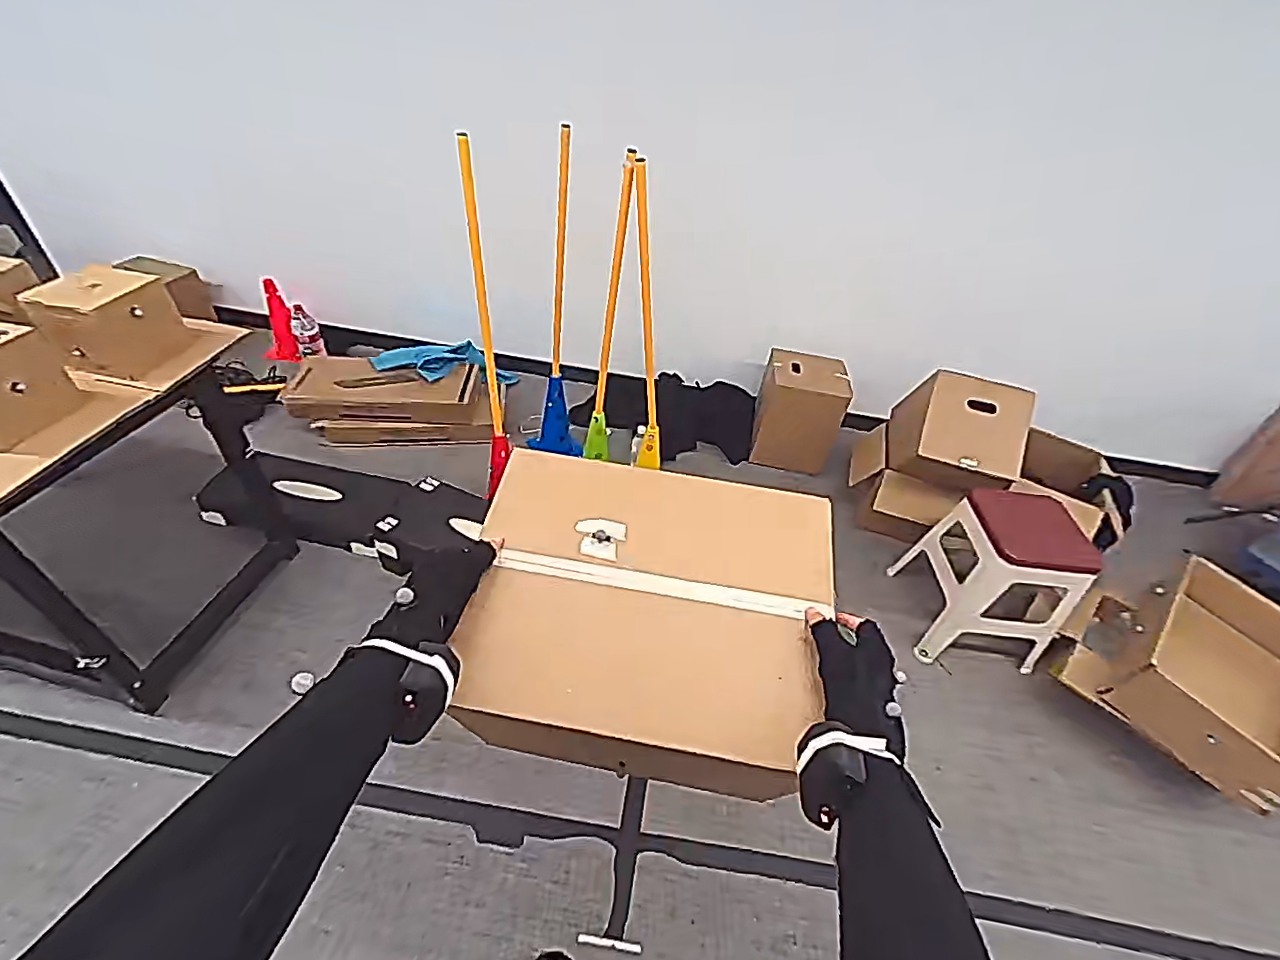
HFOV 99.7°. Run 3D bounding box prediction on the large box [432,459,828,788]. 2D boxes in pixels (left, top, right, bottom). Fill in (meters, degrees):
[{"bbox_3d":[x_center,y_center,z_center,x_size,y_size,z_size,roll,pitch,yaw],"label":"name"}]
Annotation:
[{"bbox_3d":[0.006,0.206,0.735,0.408,0.320,0.320,9,55,4],"label":"large box"}]
